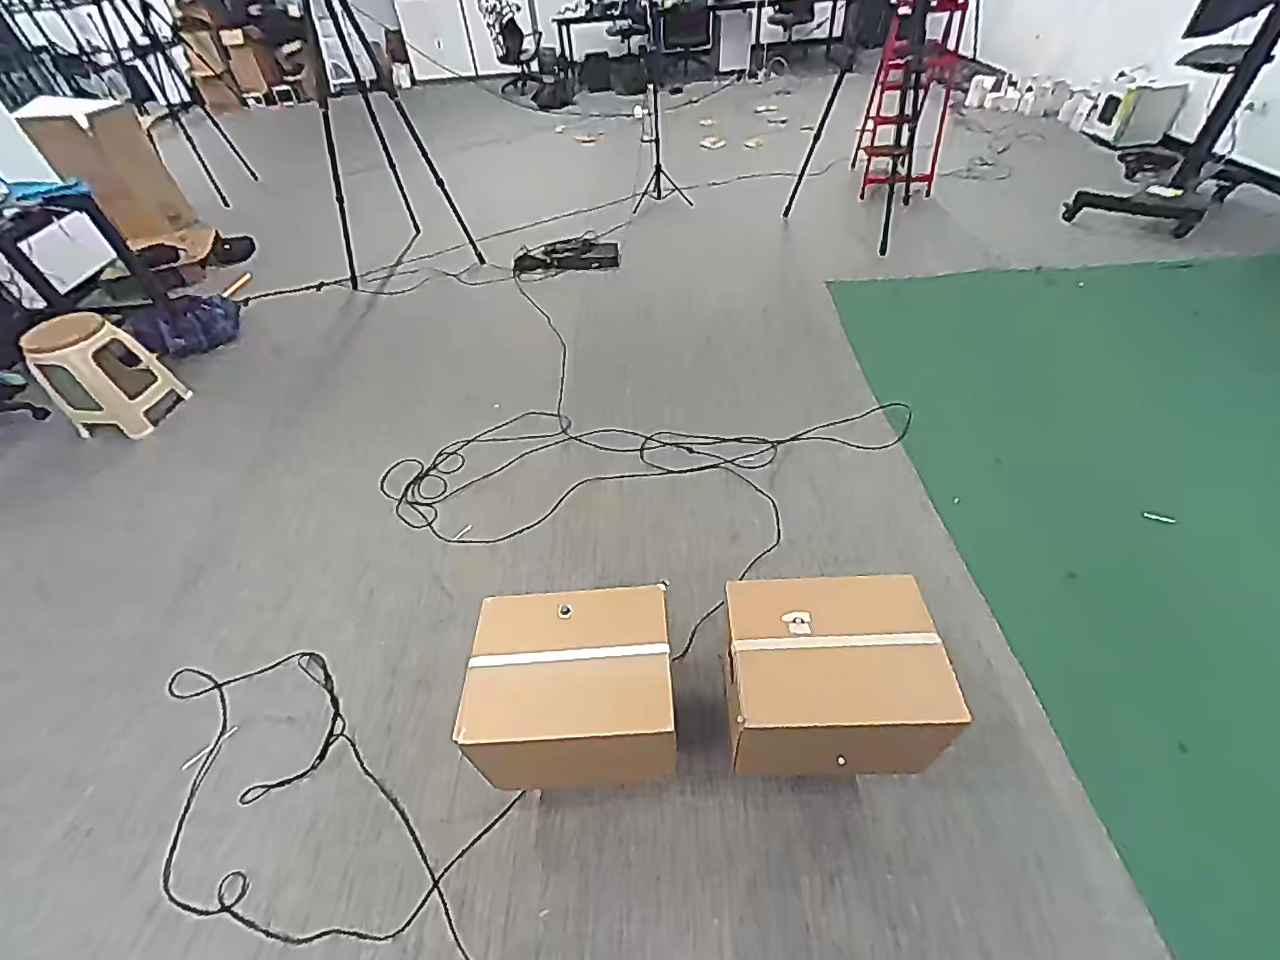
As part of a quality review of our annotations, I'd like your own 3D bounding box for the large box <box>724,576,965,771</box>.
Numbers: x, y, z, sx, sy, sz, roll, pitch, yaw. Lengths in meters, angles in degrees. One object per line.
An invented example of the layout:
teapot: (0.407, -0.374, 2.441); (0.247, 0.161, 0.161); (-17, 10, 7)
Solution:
large box: (0.404, 0.432, 1.192); (0.408, 0.320, 0.320); (-3, 46, 4)
